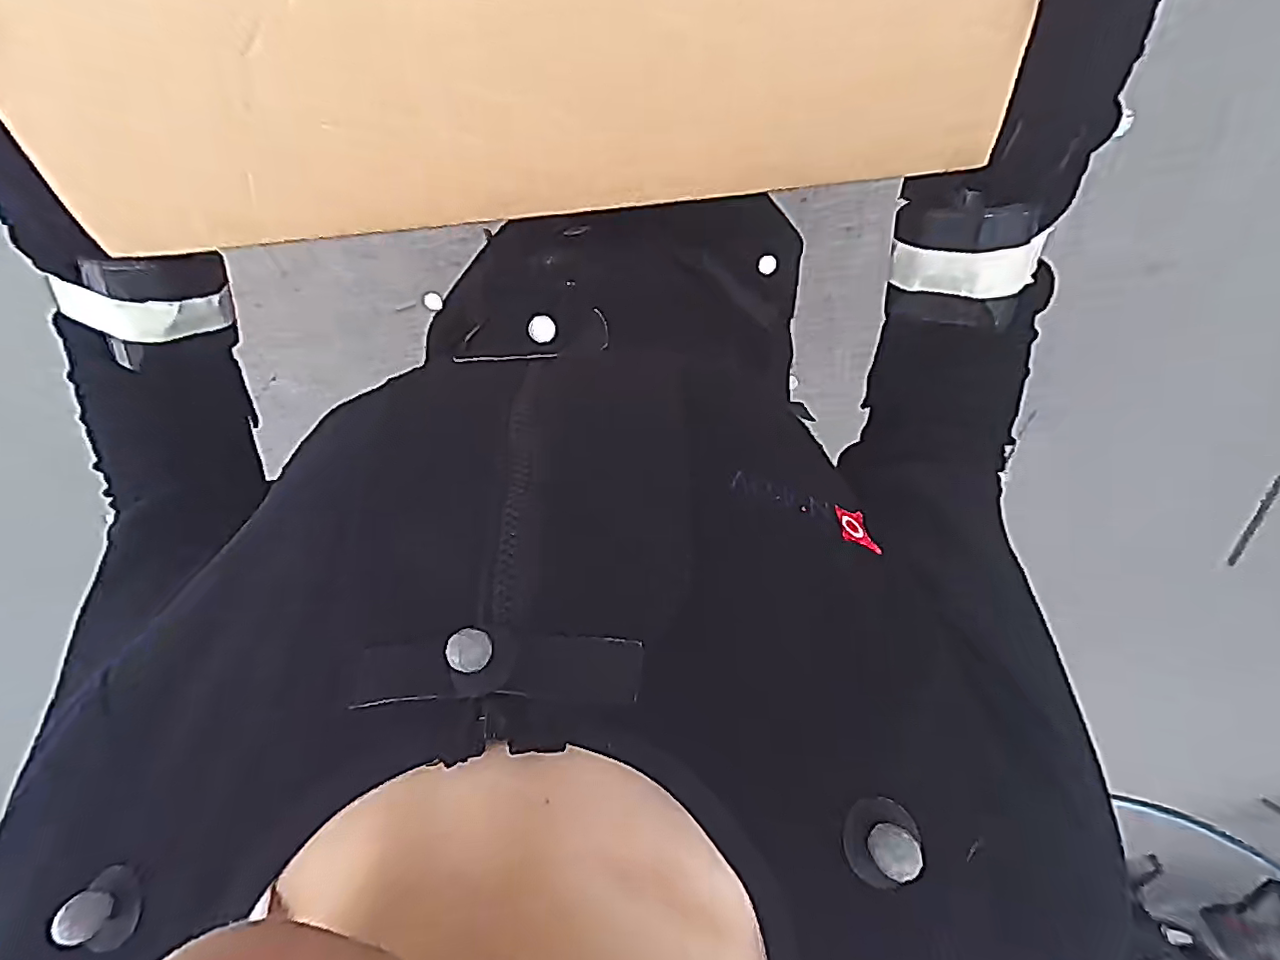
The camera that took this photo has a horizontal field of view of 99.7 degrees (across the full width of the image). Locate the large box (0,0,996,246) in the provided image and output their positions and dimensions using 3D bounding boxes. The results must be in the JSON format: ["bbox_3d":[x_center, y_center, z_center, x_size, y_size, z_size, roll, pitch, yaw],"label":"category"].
[{"bbox_3d":[-0.070,-0.345,0.256,0.408,0.320,0.320,-4,133,3],"label":"large box"}]
